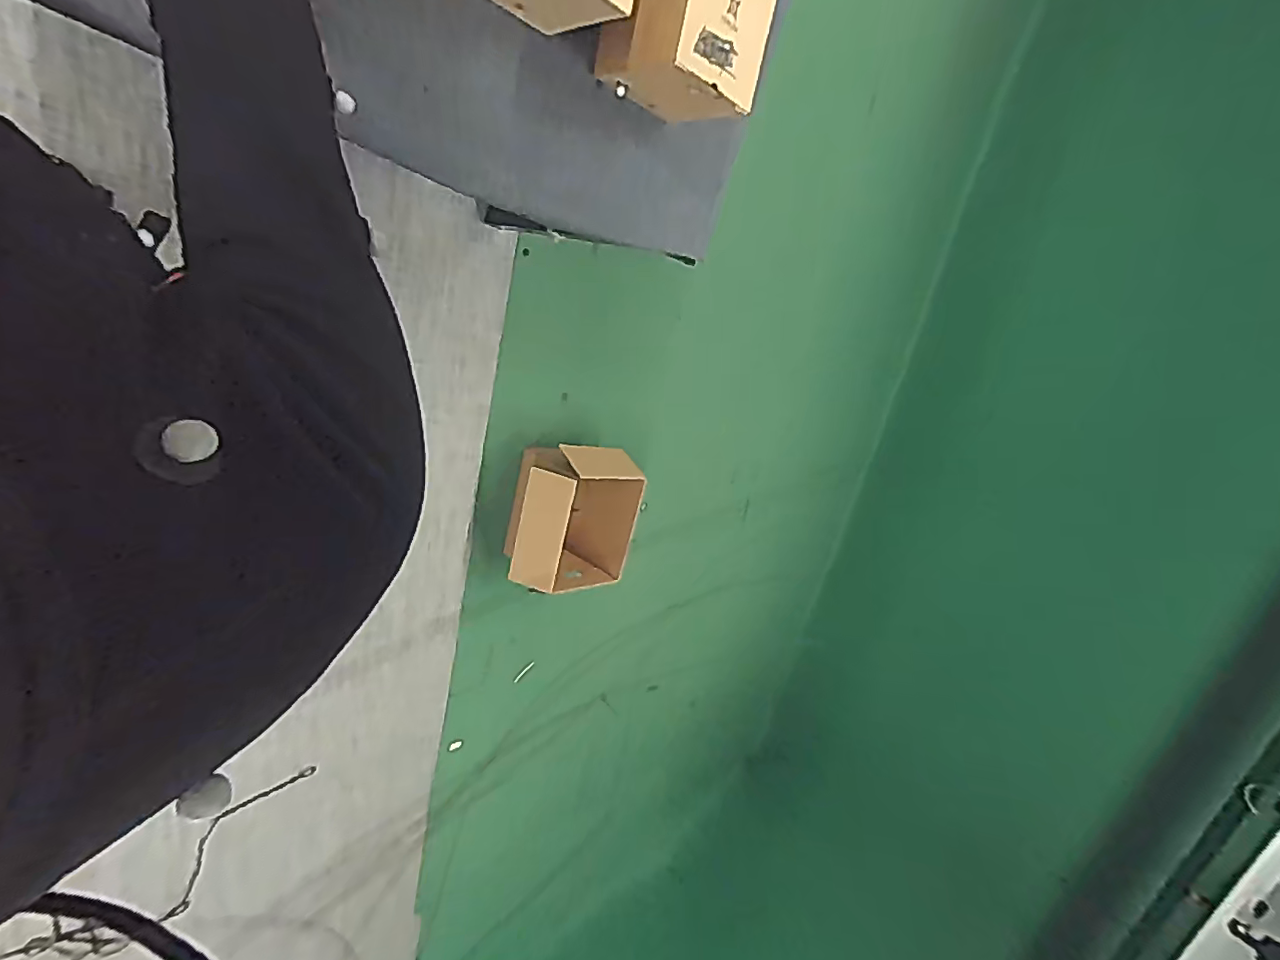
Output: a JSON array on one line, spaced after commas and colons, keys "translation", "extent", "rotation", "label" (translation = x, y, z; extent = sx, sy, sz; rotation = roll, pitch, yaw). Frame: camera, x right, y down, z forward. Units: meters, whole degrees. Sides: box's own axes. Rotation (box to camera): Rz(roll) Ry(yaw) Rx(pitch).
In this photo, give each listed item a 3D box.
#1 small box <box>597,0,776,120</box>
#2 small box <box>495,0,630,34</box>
[{"translation": [0.060, -0.630, 0.753], "extent": [0.168, 0.176, 0.179], "rotation": [-6, 115, -46], "label": "small box"}, {"translation": [-0.107, -0.625, 0.579], "extent": [0.168, 0.176, 0.179], "rotation": [-5, 115, -46], "label": "small box"}]
